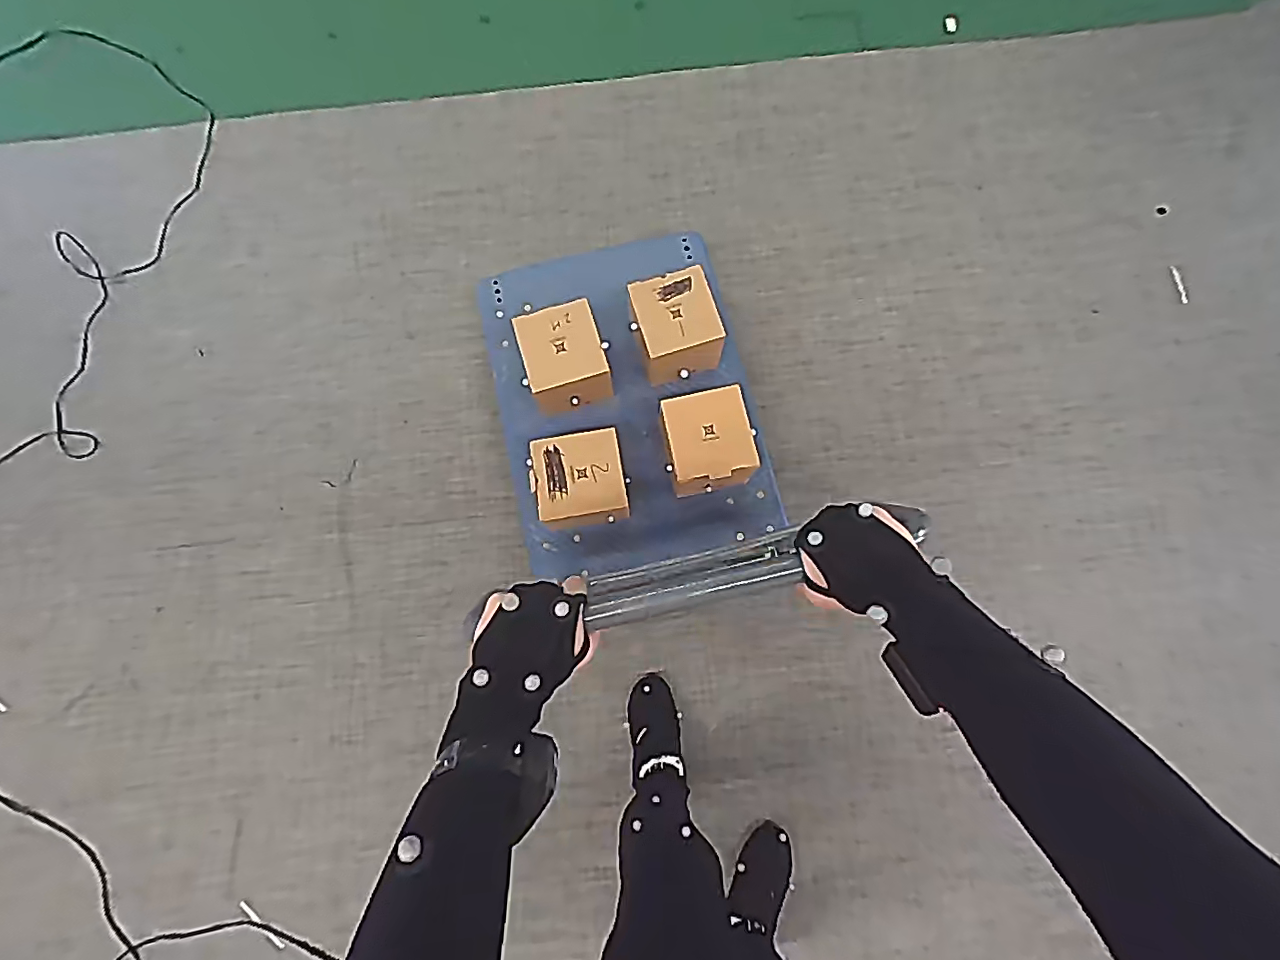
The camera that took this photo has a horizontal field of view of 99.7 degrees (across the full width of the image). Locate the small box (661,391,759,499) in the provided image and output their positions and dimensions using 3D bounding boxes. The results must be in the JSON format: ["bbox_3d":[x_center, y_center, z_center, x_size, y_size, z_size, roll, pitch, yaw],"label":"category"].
[{"bbox_3d":[0.143,-0.070,1.172,0.168,0.176,0.179,-12,78,-1],"label":"small box"}]

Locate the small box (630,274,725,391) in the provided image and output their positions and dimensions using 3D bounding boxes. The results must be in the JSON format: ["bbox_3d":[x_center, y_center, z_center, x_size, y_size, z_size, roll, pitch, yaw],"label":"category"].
[{"bbox_3d":[0.080,-0.327,1.226,0.168,0.176,0.179,-17,79,-1],"label":"small box"}]

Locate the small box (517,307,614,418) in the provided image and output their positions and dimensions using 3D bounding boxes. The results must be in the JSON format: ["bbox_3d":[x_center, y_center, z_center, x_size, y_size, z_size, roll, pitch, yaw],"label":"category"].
[{"bbox_3d":[-0.161,-0.253,1.217,0.168,0.176,0.179,-17,78,-3],"label":"small box"}]
